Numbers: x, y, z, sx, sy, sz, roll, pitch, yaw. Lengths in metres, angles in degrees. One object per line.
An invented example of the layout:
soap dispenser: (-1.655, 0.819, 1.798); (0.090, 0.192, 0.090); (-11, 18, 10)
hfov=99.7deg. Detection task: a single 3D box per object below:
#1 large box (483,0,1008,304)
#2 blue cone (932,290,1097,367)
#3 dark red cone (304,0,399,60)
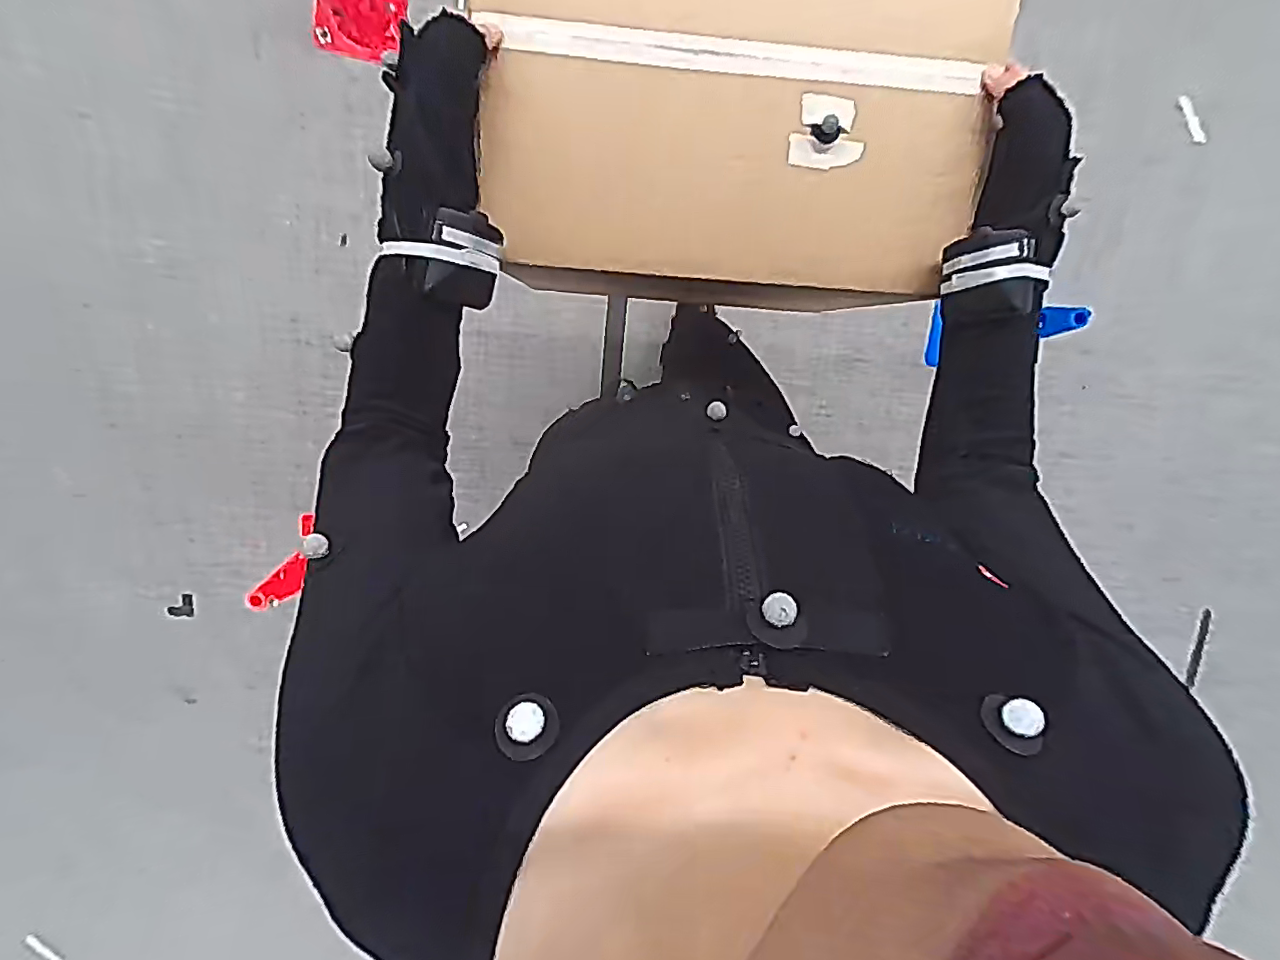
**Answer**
large box: (0.069, -0.362, 0.558); (0.408, 0.320, 0.320); (2, 105, -5)
blue cone: (0.884, -0.369, 1.271); (0.192, 0.380, 0.193); (7, 101, -5)
dark red cone: (-0.631, -1.035, 1.046); (0.201, 0.394, 0.202); (10, 100, -5)
